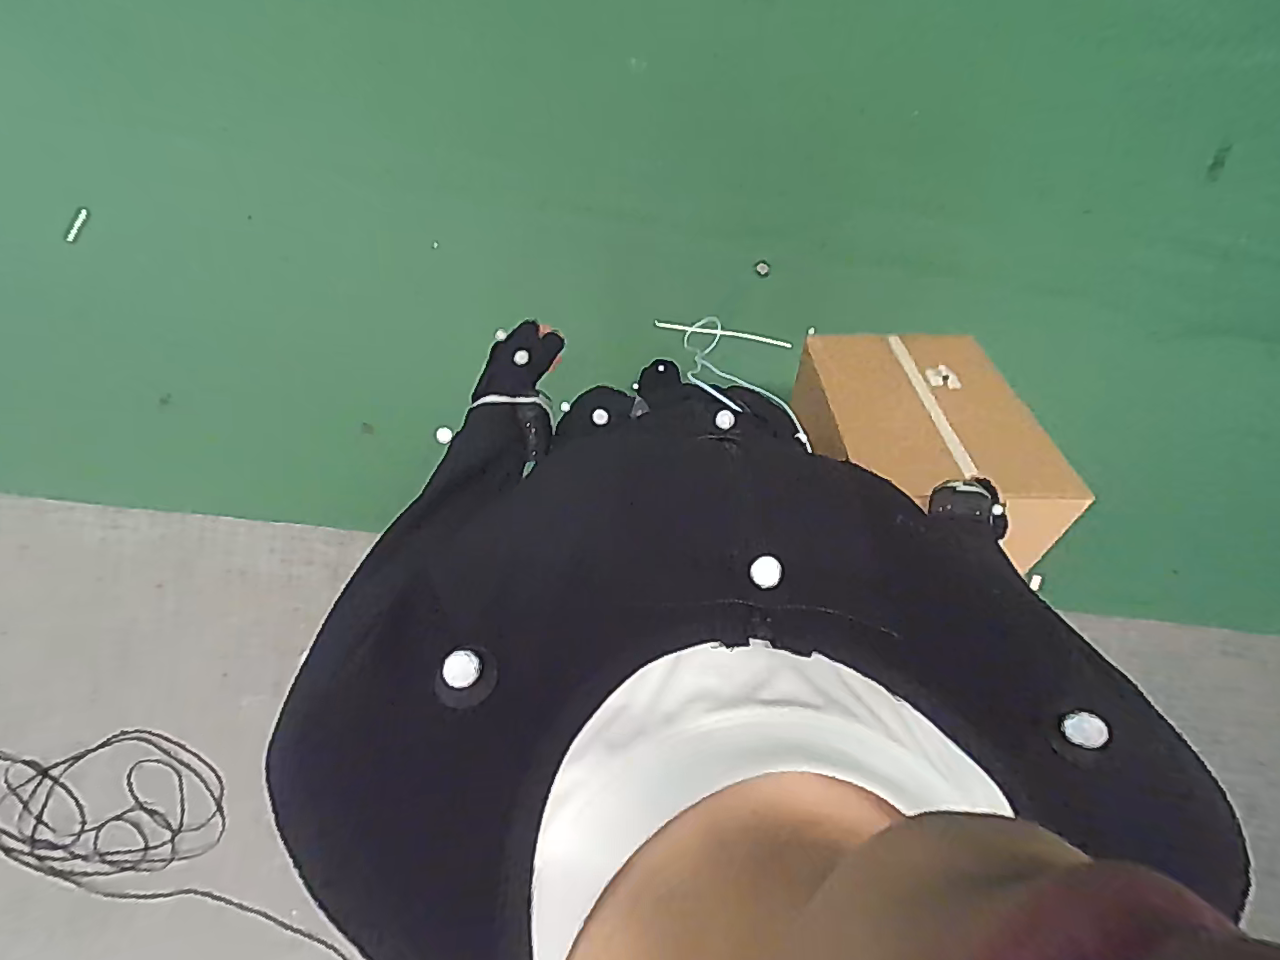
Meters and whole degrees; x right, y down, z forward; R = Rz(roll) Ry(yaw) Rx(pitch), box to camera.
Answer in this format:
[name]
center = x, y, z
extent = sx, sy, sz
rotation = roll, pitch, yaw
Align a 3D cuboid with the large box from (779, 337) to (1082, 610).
[large box]
center = 0.462, -0.015, 0.987
extent = 0.320, 0.408, 0.320
rotation = 0, 137, 0
